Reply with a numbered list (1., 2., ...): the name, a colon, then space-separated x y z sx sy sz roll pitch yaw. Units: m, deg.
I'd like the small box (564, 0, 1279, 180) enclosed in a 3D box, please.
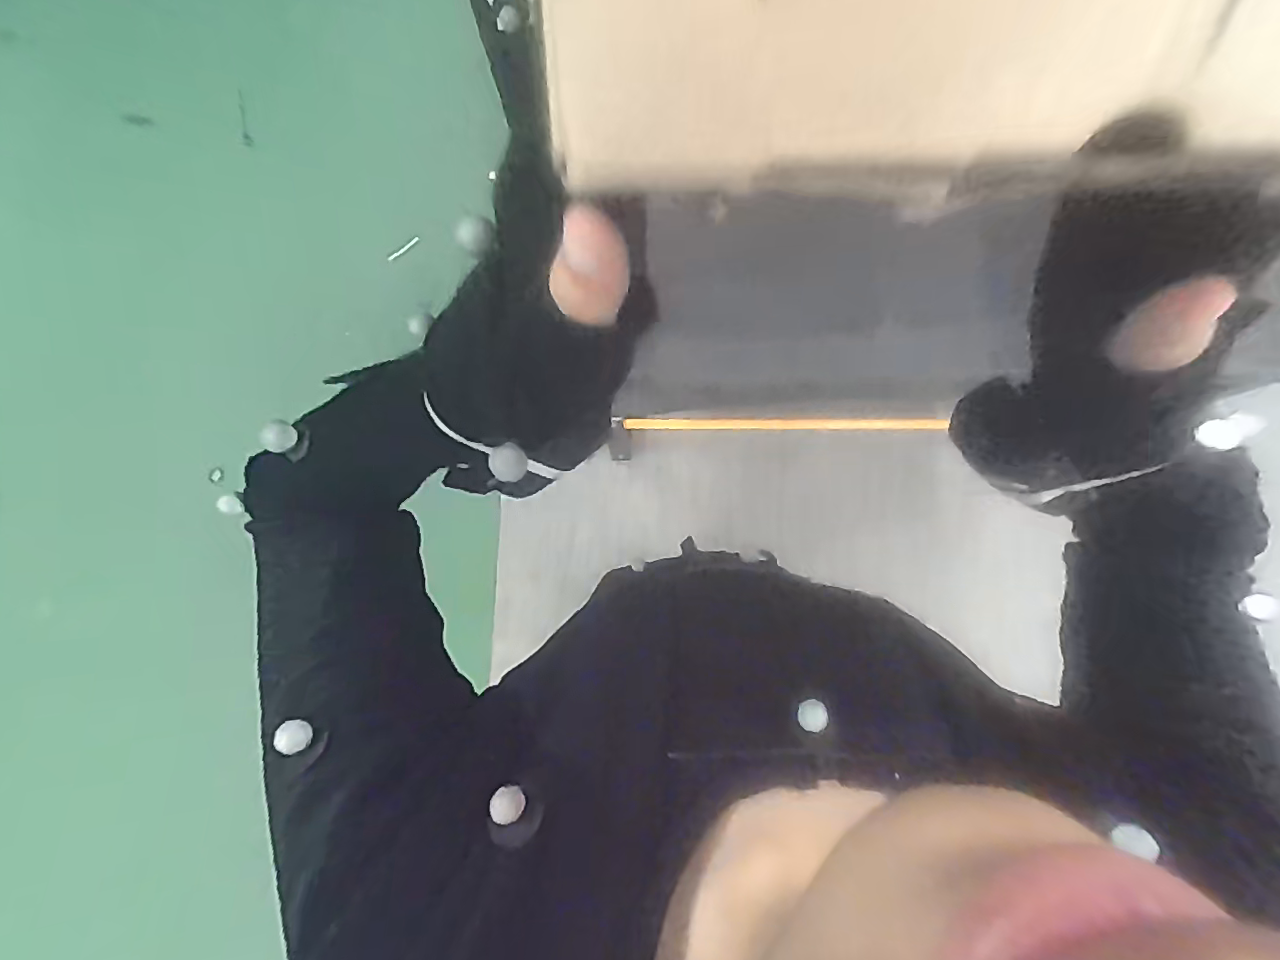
1. small box: 0.077 -0.161 0.109 0.168 0.176 0.179 2 118 3
